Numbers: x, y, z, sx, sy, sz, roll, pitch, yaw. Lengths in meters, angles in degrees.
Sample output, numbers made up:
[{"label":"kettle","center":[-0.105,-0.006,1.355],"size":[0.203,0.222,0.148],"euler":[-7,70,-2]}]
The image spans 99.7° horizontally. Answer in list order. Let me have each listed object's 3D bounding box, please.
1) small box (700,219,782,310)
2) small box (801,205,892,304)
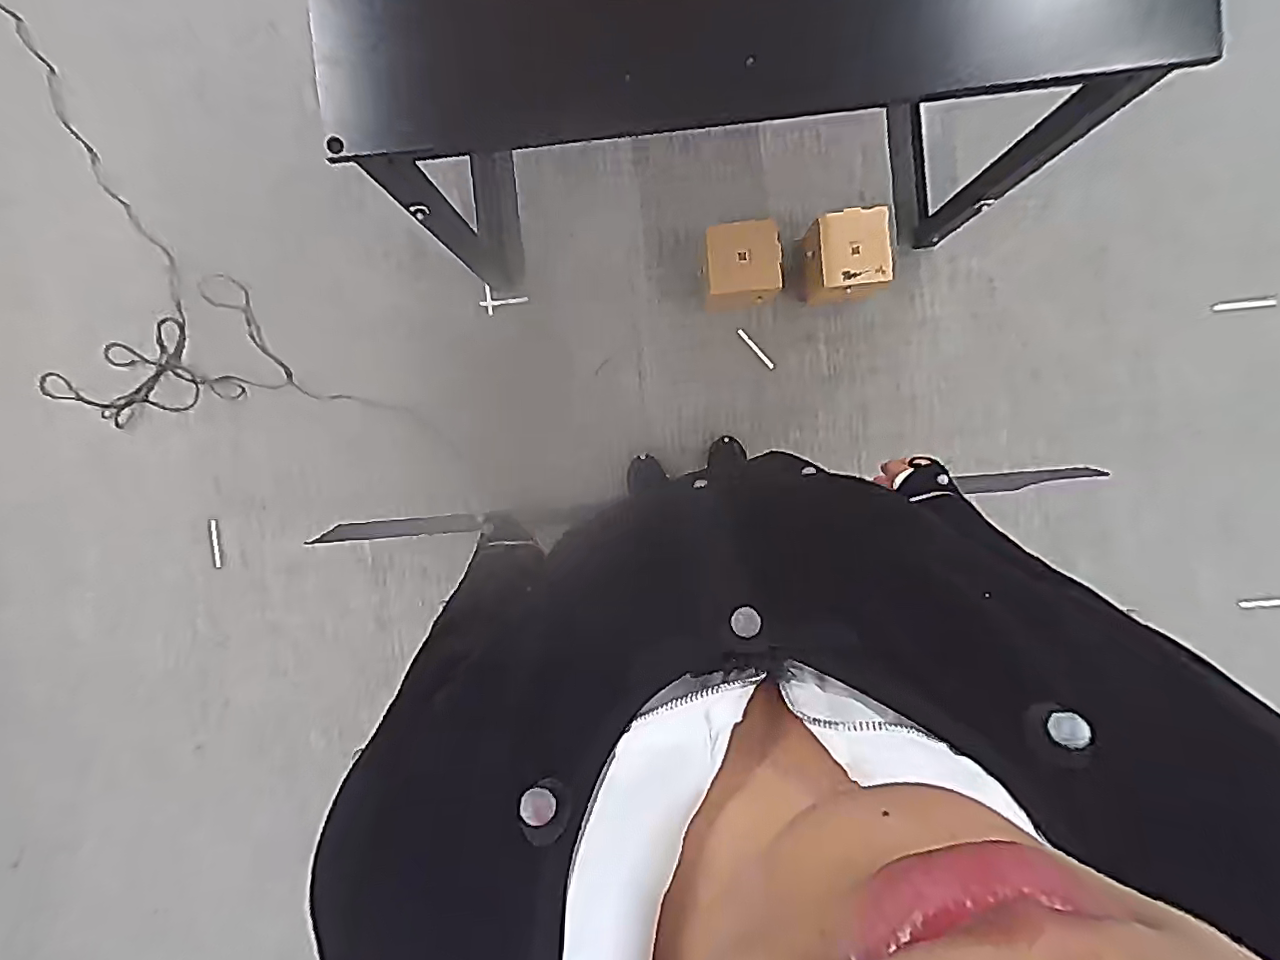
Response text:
[{"label":"small box","center":[0.251,-0.542,1.378],"size":[0.179,0.176,0.168],"euler":[-6,93,4]},{"label":"small box","center":[0.513,-0.561,1.364],"size":[0.168,0.176,0.179],"euler":[-6,93,3]}]
